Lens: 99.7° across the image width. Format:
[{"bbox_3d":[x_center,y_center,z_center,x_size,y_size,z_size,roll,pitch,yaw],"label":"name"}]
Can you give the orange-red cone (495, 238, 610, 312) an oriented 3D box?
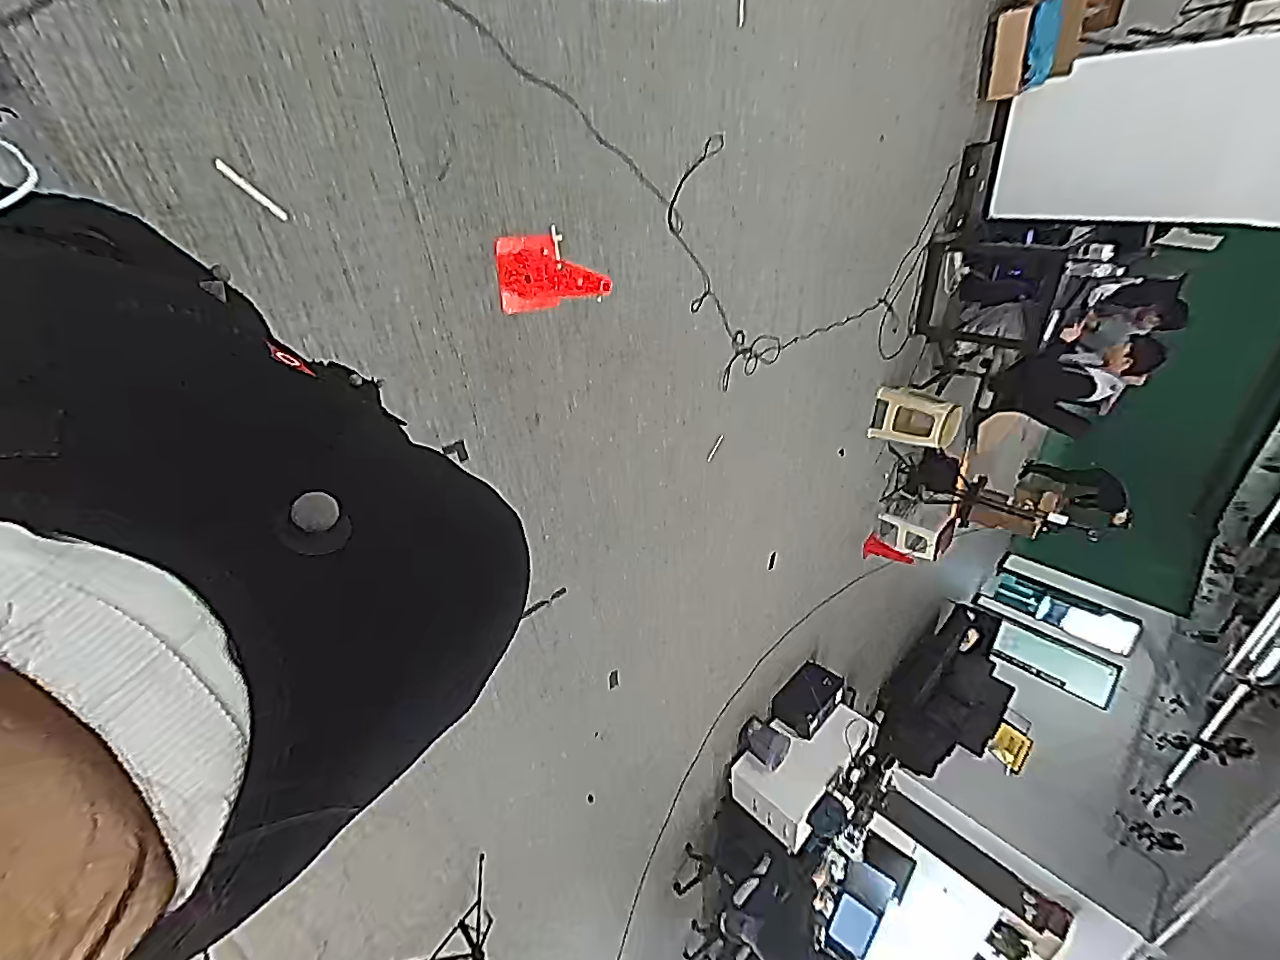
[{"bbox_3d":[-0.208,-0.536,1.447,0.199,0.360,0.198,-21,123,-37],"label":"orange-red cone"}]
